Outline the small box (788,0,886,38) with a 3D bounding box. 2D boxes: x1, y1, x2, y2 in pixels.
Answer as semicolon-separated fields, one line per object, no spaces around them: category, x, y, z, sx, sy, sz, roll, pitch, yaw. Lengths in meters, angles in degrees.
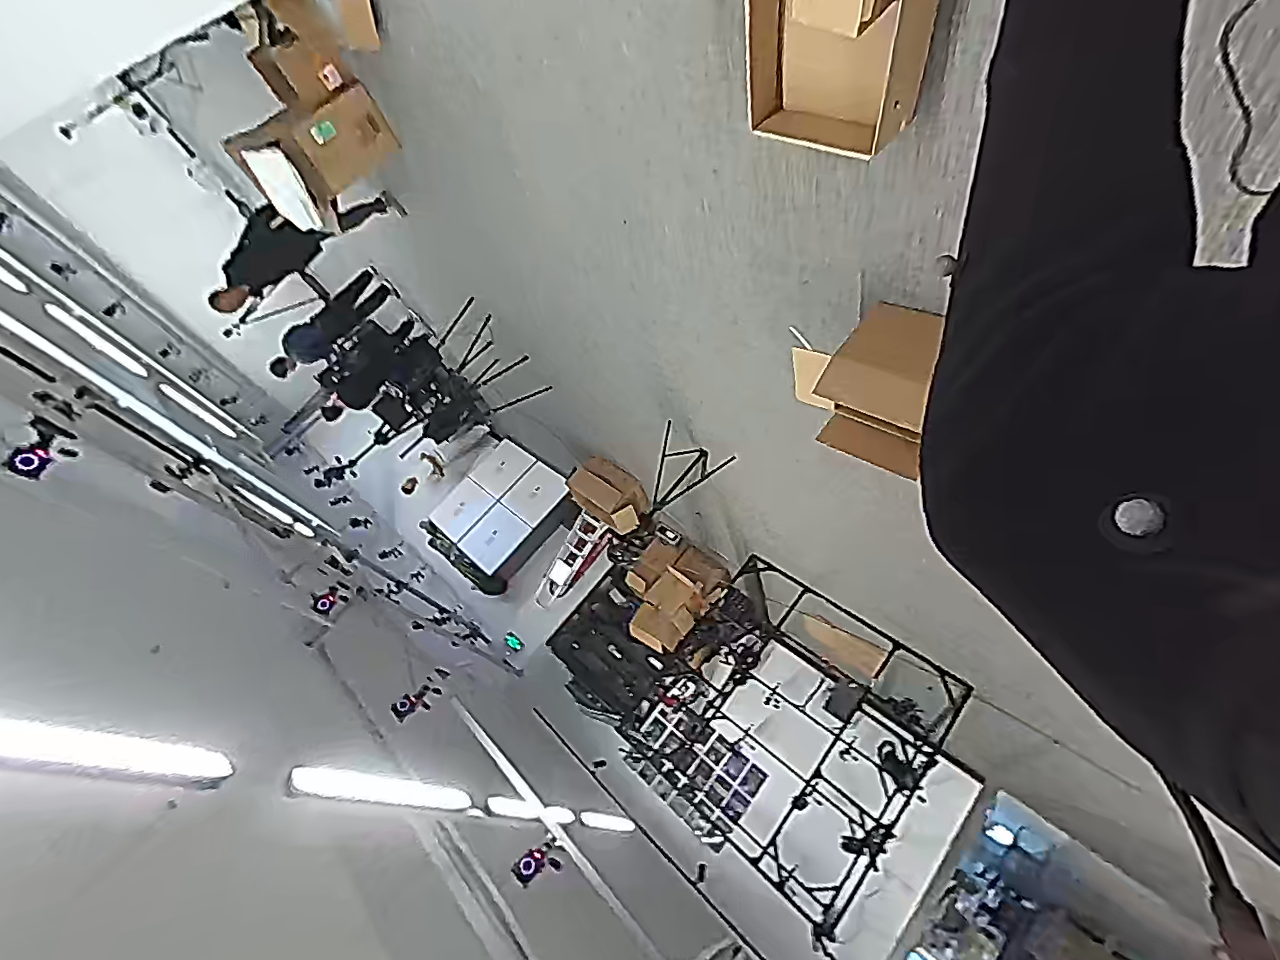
small box;0.455;-1.122;1.180;0.179;0.176;0.168;35;164;20
